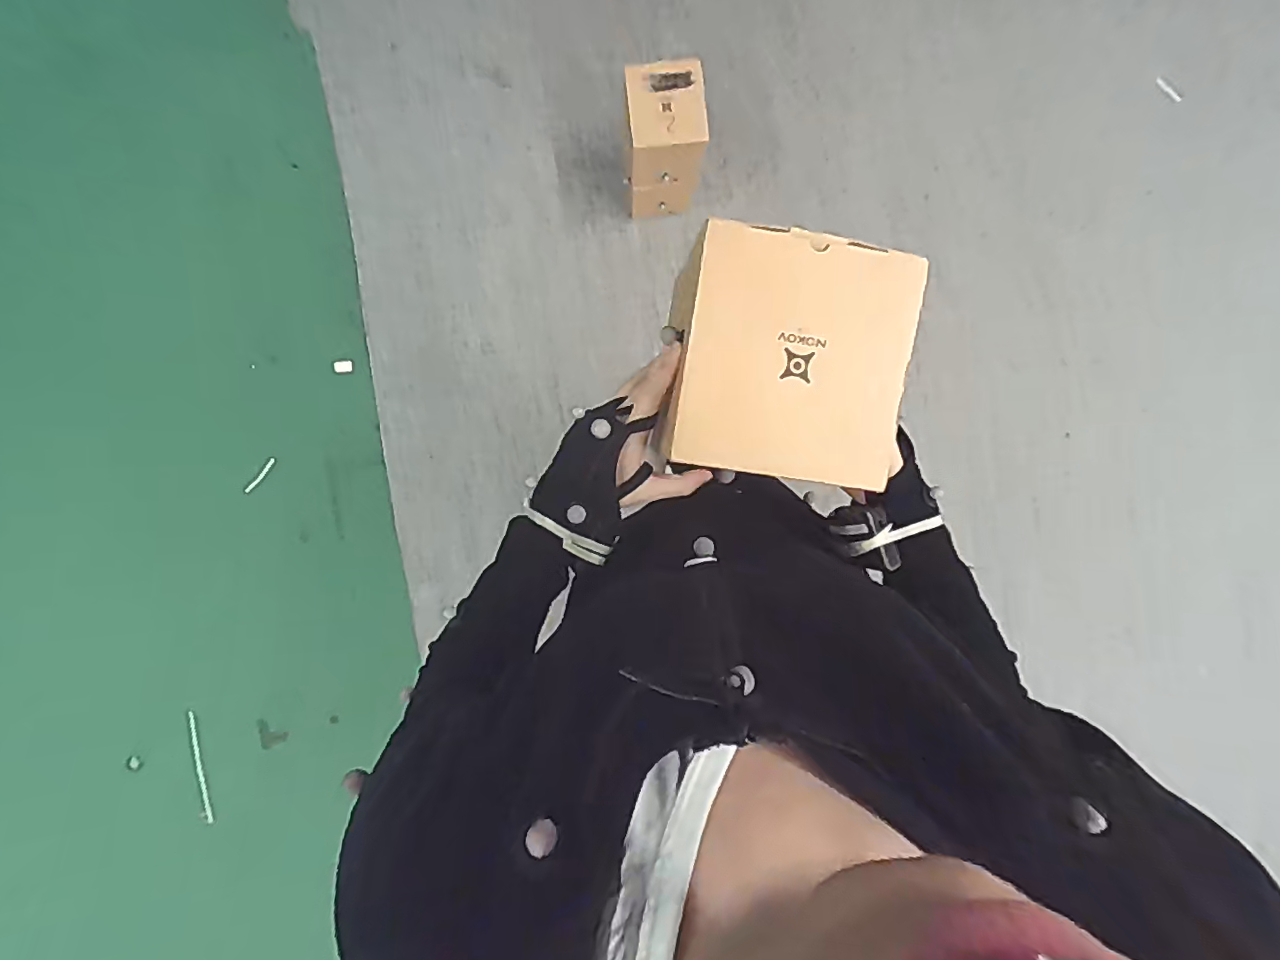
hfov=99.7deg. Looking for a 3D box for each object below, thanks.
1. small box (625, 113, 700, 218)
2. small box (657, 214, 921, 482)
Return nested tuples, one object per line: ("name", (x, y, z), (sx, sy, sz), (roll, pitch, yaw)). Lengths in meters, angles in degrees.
("small box", (0.057, -0.798, 1.393), (0.168, 0.176, 0.179), (-9, 92, 0))
("small box", (0.110, -0.101, 0.476), (0.168, 0.176, 0.179), (7, 95, -4))
